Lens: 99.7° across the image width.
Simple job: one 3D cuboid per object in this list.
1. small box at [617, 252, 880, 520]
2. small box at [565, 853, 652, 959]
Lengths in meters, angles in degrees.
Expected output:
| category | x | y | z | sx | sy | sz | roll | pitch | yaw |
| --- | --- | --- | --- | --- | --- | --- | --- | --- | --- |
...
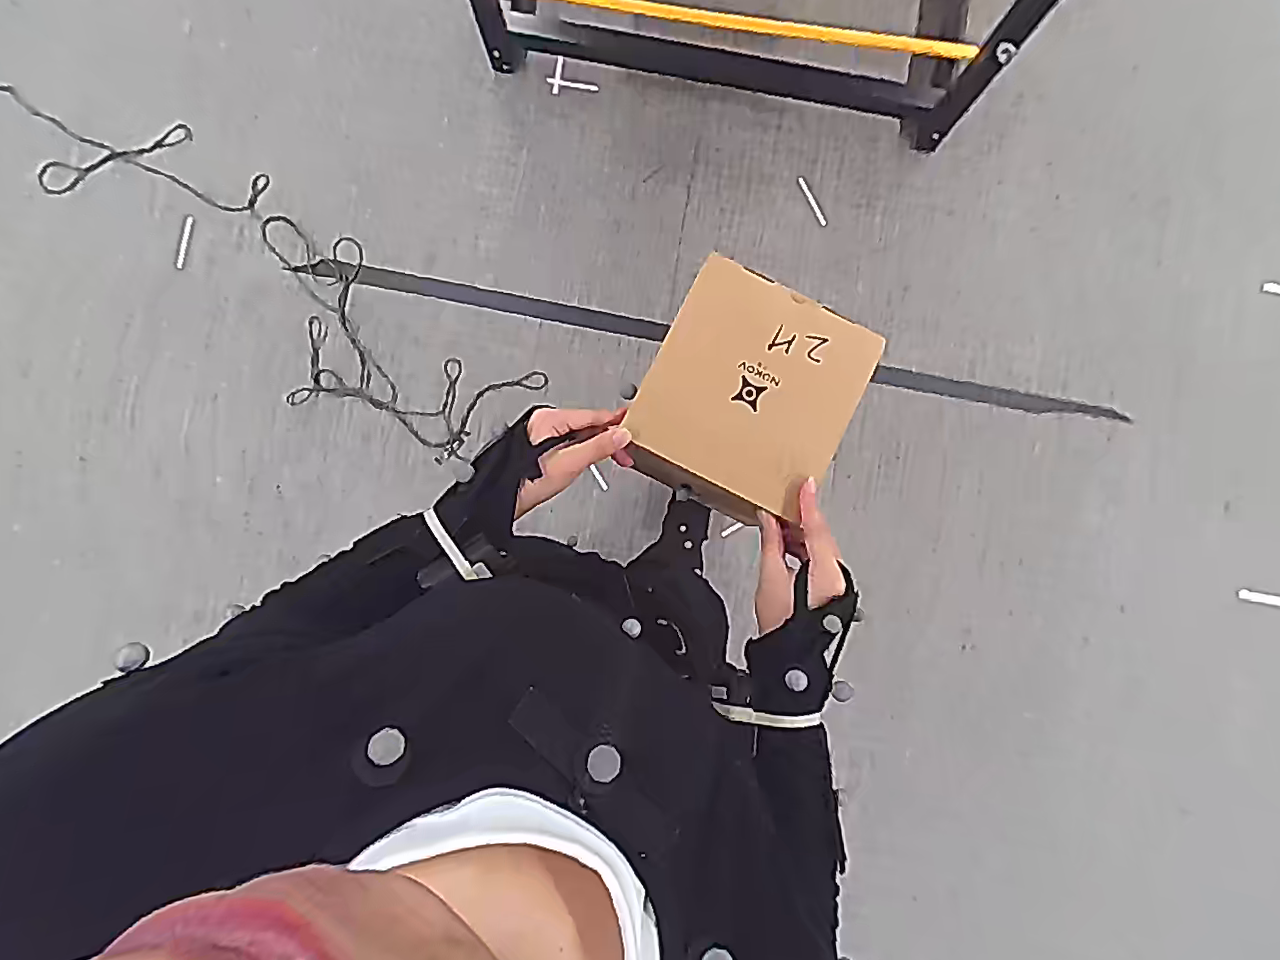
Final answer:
| category | x | y | z | sx | sy | sz | roll | pitch | yaw |
| --- | --- | --- | --- | --- | --- | --- | --- | --- | --- |
| small box | 0.088 | -0.072 | 0.522 | 0.168 | 0.176 | 0.179 | 27 | 84 | -1 |
| small box | -0.073 | 1.025 | 1.283 | 0.179 | 0.176 | 0.168 | 9 | 88 | -1 |
